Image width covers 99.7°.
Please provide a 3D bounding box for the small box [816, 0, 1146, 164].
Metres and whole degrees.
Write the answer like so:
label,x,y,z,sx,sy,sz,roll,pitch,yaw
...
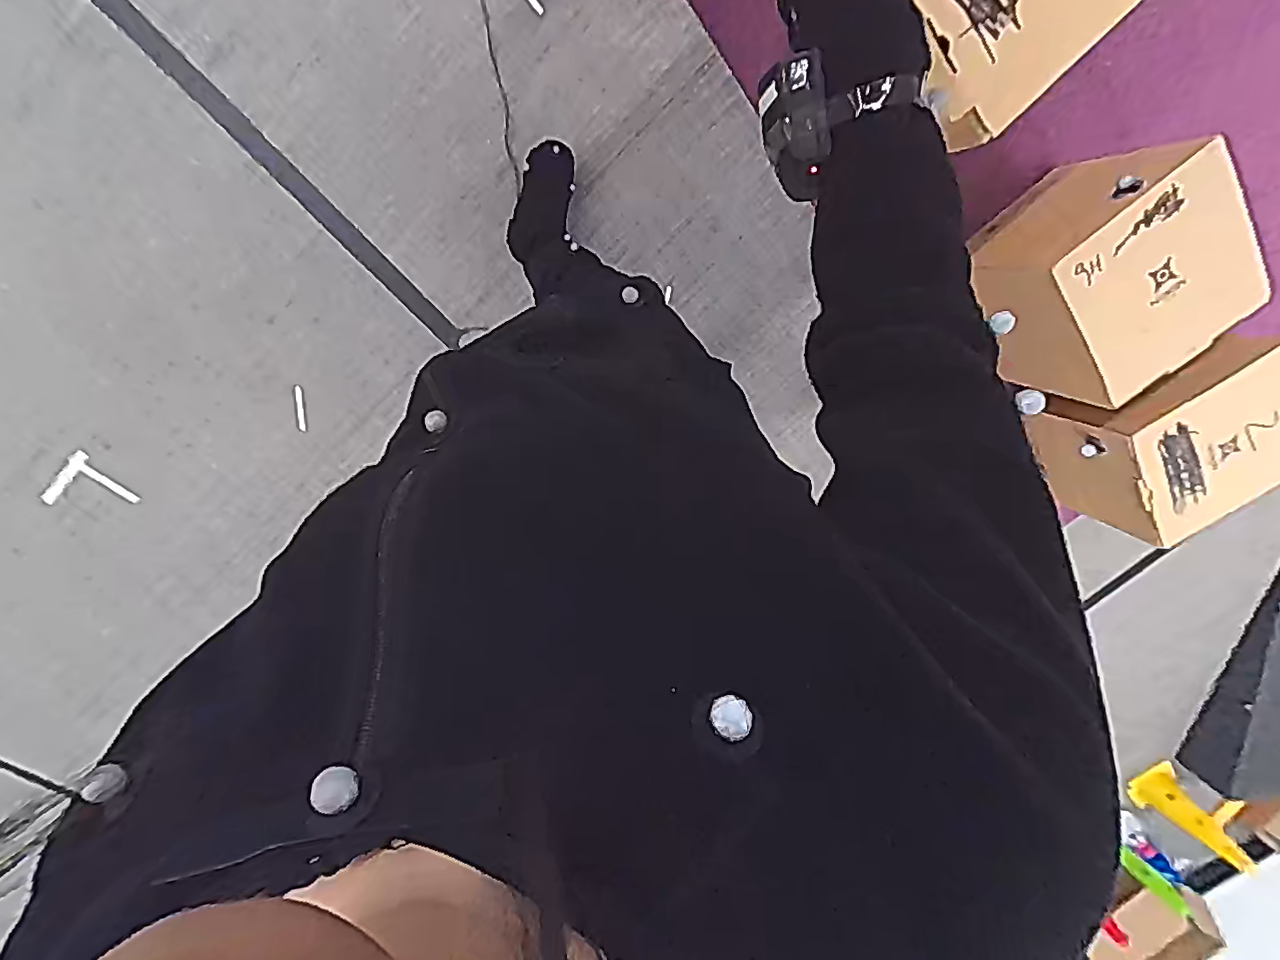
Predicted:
label,x,y,z,sx,sy,sz,roll,pitch,yaw
small box,0.278,-0.409,0.462,0.179,0.176,0.168,-43,111,10
